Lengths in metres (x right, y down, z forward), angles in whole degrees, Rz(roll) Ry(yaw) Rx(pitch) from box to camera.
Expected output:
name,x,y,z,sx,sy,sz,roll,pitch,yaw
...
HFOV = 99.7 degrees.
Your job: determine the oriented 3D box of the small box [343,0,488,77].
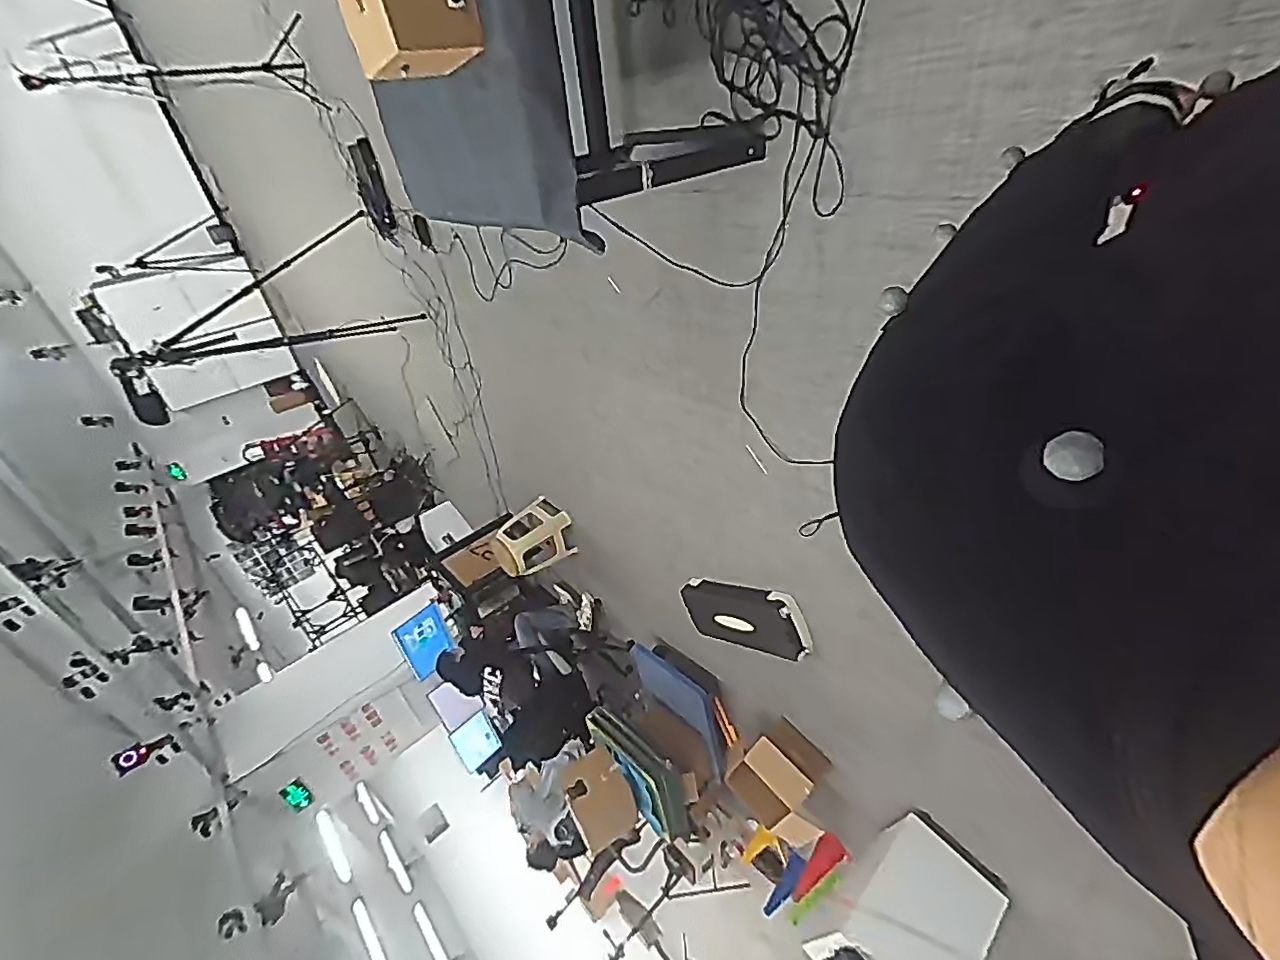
name,x,y,z,sx,sy,sz,roll,pitch,yaw
small box,-0.386,-0.809,0.917,0.179,0.176,0.168,21,134,45
